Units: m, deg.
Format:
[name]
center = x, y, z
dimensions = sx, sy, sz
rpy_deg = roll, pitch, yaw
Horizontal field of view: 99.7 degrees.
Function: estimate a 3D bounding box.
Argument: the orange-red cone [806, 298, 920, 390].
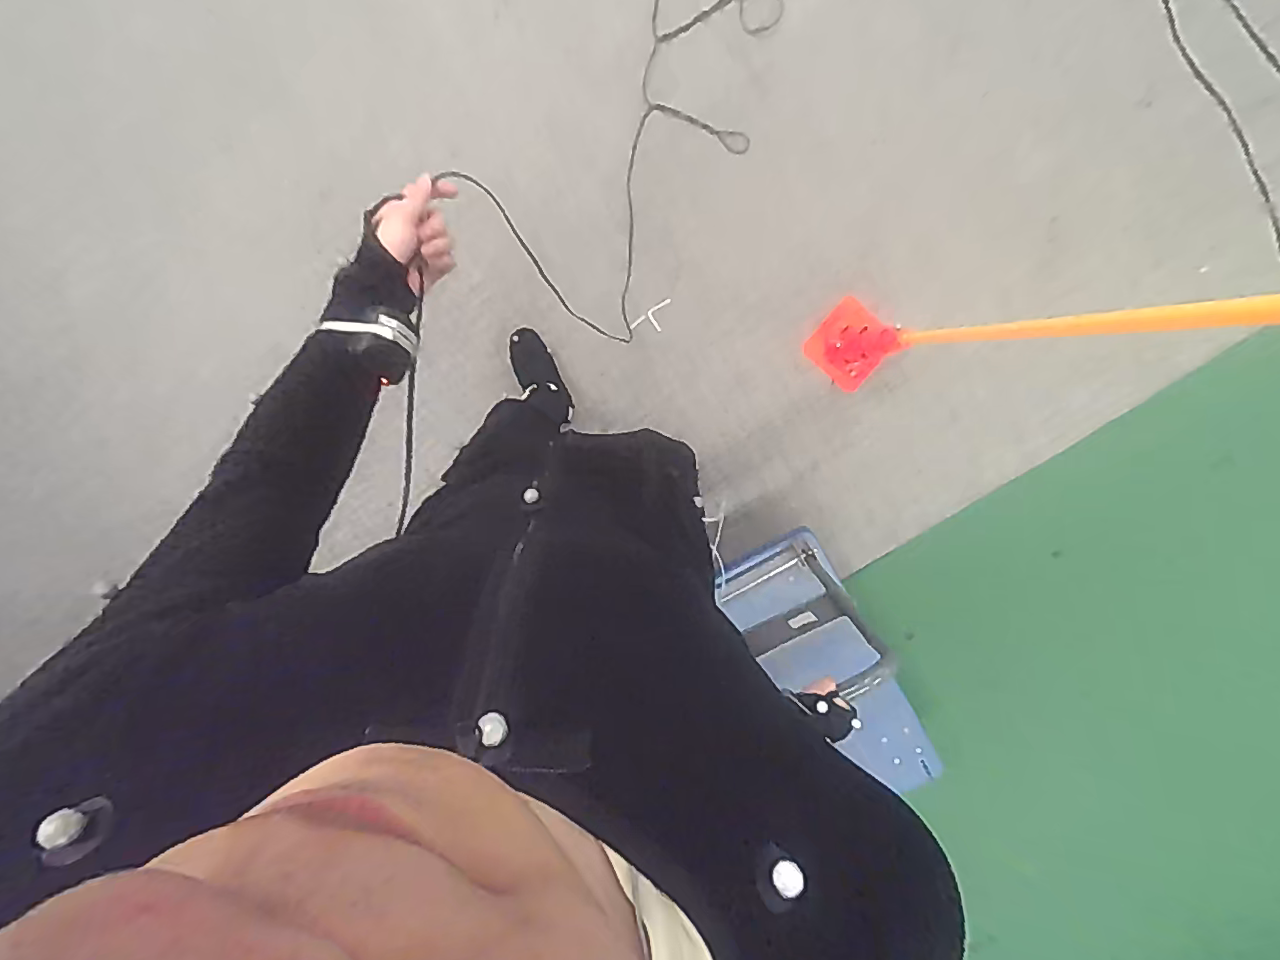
[orange-red cone]
center = 0.591, -0.345, 1.342
dimensions = 0.198, 0.360, 0.199
rpy_deg = 41, 99, -8
